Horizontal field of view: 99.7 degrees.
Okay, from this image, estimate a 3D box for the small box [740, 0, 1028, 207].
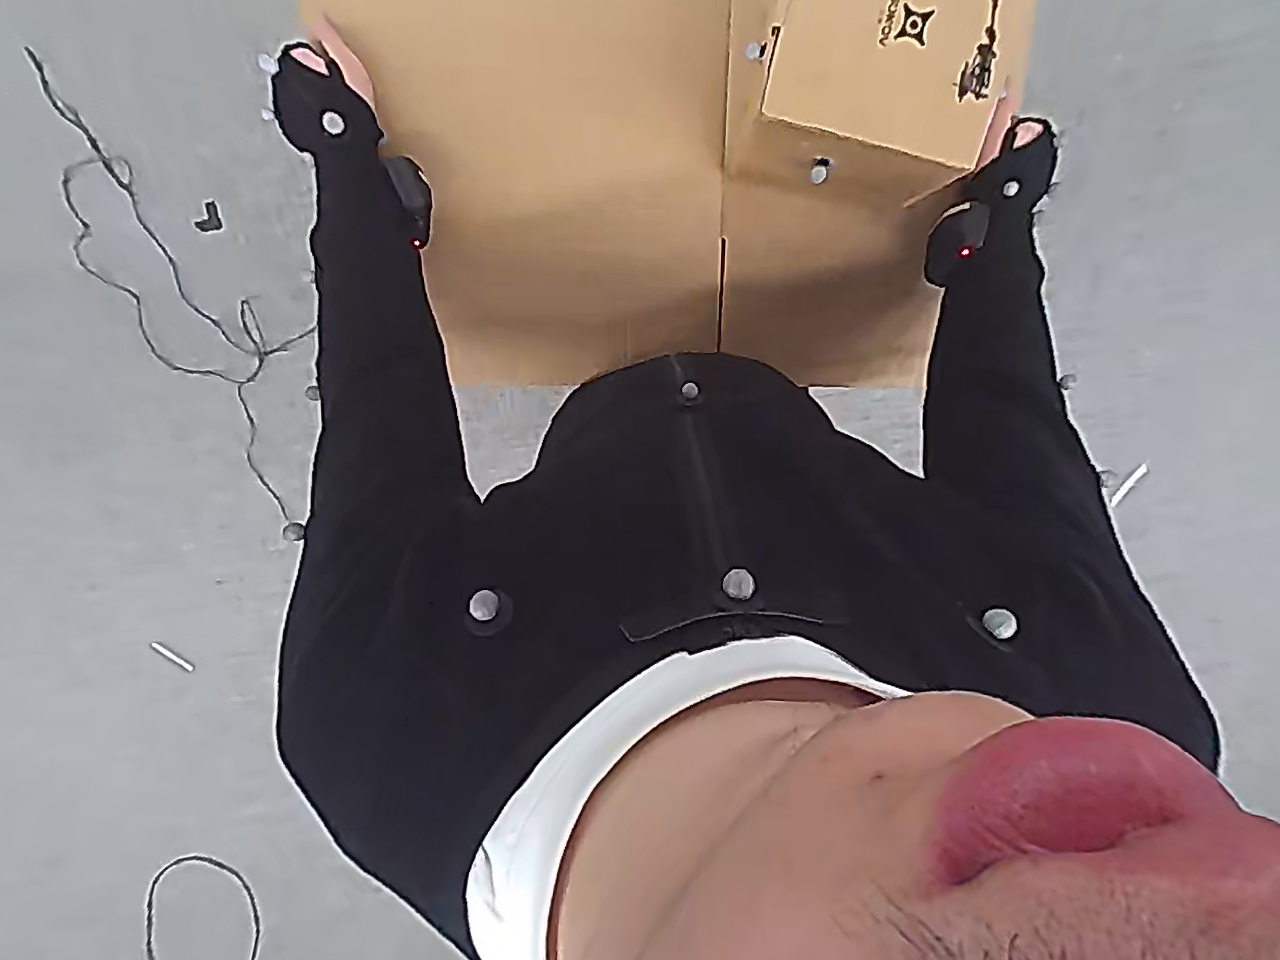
[{"bbox_3d":[0.198,-0.362,0.480,0.179,0.176,0.168,14,105,-1],"label":"small box"}]
